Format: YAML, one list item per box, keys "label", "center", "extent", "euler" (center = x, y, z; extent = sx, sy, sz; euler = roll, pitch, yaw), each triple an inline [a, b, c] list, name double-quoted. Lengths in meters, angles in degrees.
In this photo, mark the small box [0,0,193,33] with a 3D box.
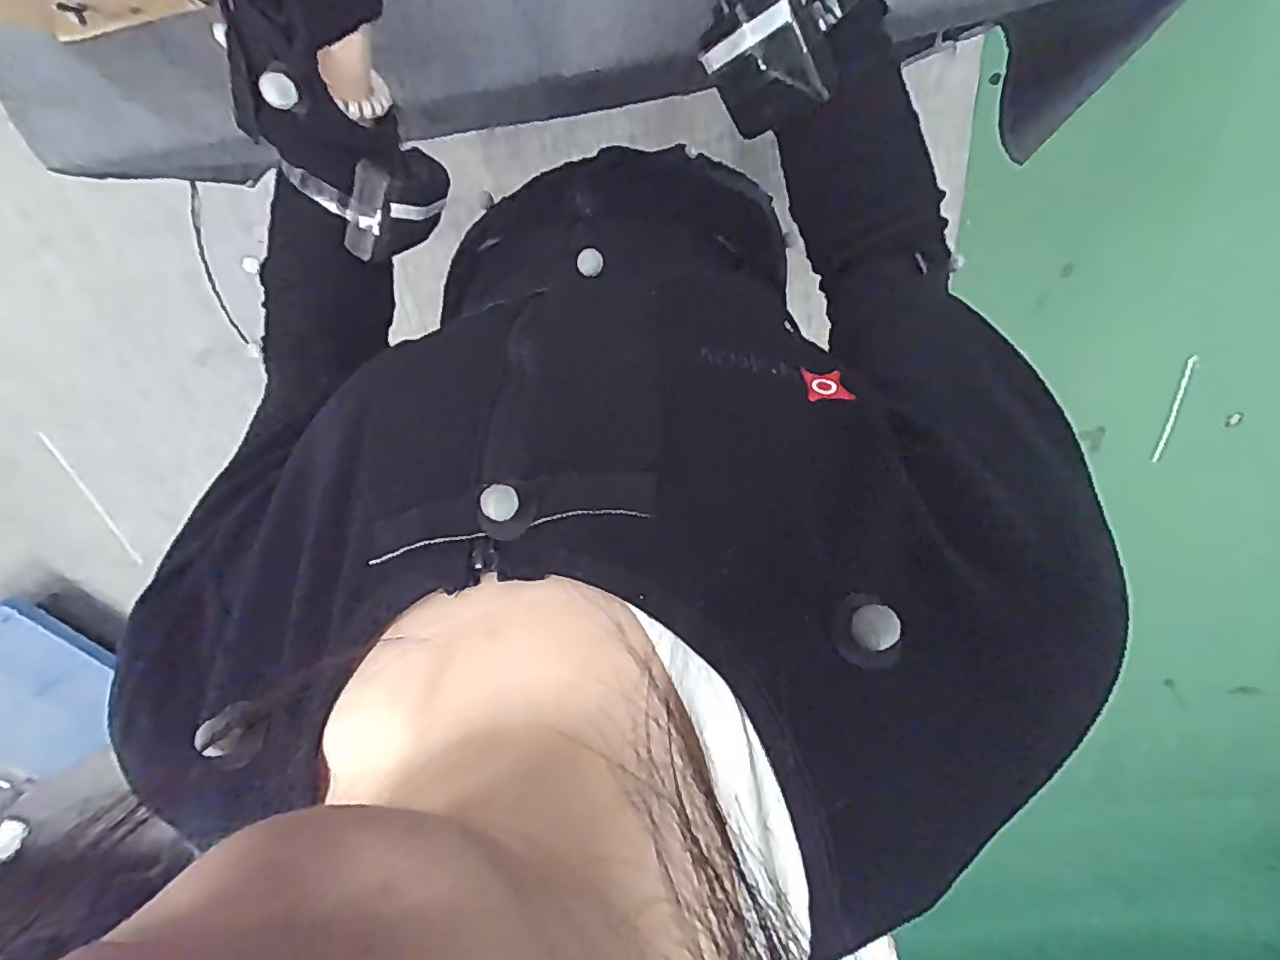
- label: "small box"
  center: [-0.512, -0.488, 0.416]
  extent: [0.168, 0.176, 0.179]
  euler: [-10, 119, 5]
